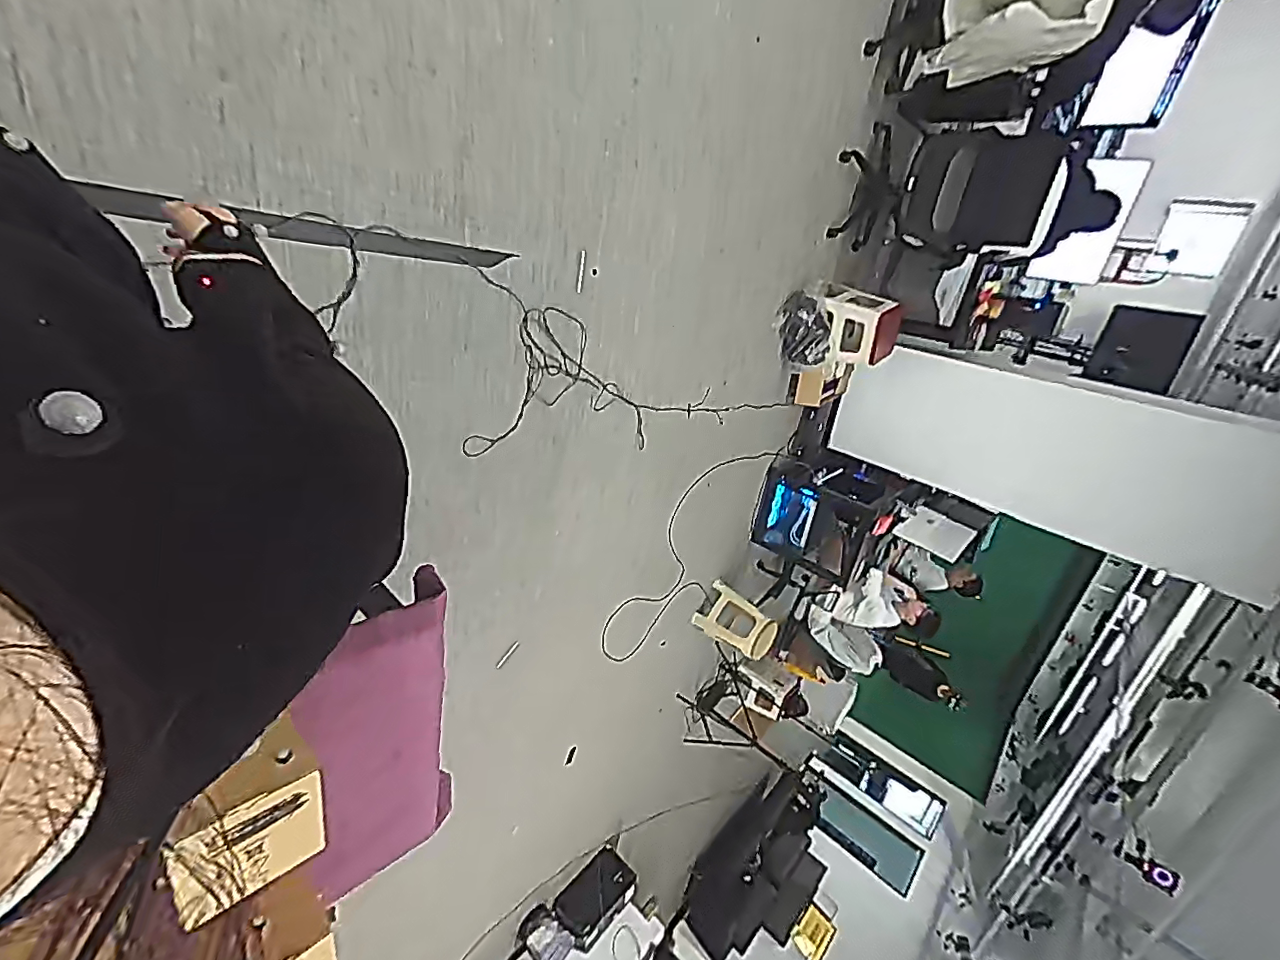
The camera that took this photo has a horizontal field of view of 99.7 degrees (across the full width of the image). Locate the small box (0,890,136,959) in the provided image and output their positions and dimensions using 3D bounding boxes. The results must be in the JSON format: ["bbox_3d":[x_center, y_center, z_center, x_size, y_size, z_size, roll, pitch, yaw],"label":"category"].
[{"bbox_3d":[-0.744,0.671,0.678,0.168,0.176,0.179,-15,123,-47],"label":"small box"}]

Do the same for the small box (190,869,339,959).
[{"bbox_3d":[-0.626,0.807,0.909,0.168,0.176,0.179,-15,121,-46],"label":"small box"}]
